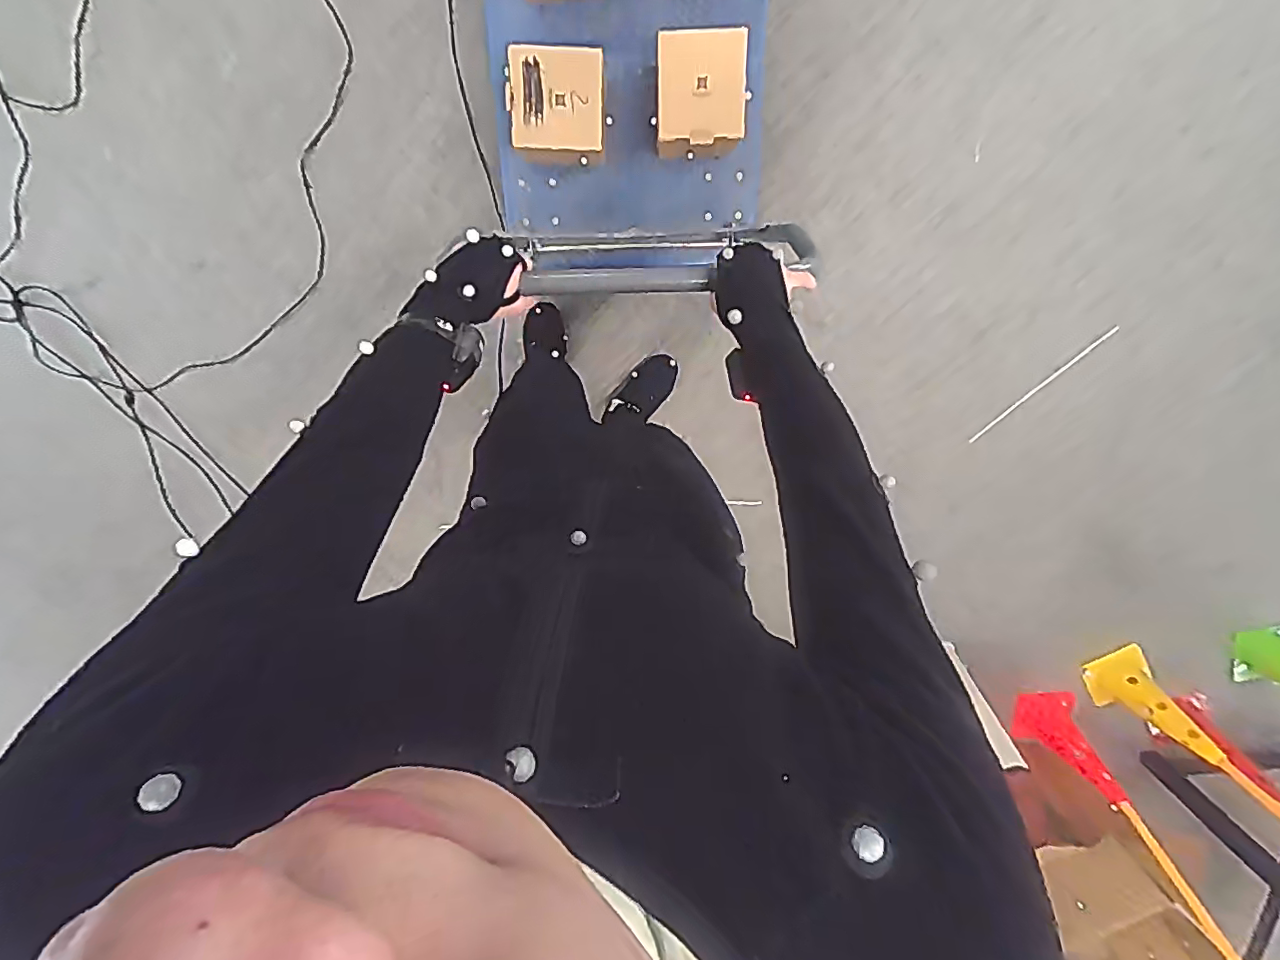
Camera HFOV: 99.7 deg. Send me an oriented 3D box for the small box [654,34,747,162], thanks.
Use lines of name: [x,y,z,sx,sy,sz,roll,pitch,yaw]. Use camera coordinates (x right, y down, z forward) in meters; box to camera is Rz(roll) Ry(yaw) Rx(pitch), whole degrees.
small box: [0.114,-0.758,1.090,0.168,0.176,0.179,-2,112,0]

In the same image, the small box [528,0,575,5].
small box: [-0.159,-1.013,0.990,0.168,0.176,0.179,-7,110,1]
